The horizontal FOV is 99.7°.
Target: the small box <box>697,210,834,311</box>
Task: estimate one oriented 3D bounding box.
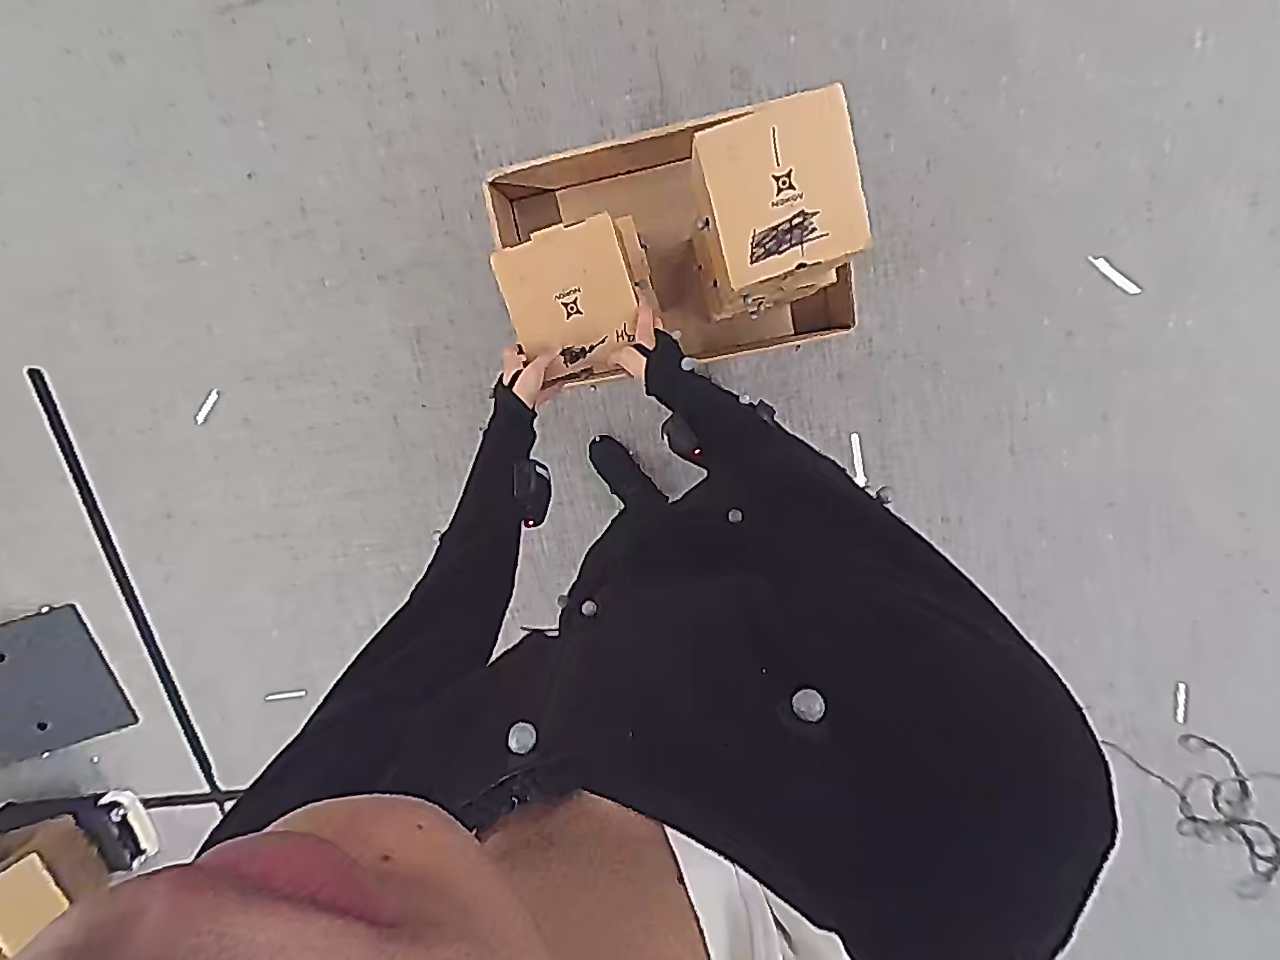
[{"bbox_3d":[0.186,-0.373,0.842,0.168,0.176,0.179,-12,103,7],"label":"small box"}]

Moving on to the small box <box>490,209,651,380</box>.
[{"bbox_3d":[-0.087,-0.254,0.770,0.168,0.176,0.179,-17,105,7],"label":"small box"}]

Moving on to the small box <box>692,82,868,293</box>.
[{"bbox_3d":[0.165,-0.344,0.681,0.168,0.176,0.179,-15,102,7],"label":"small box"}]
